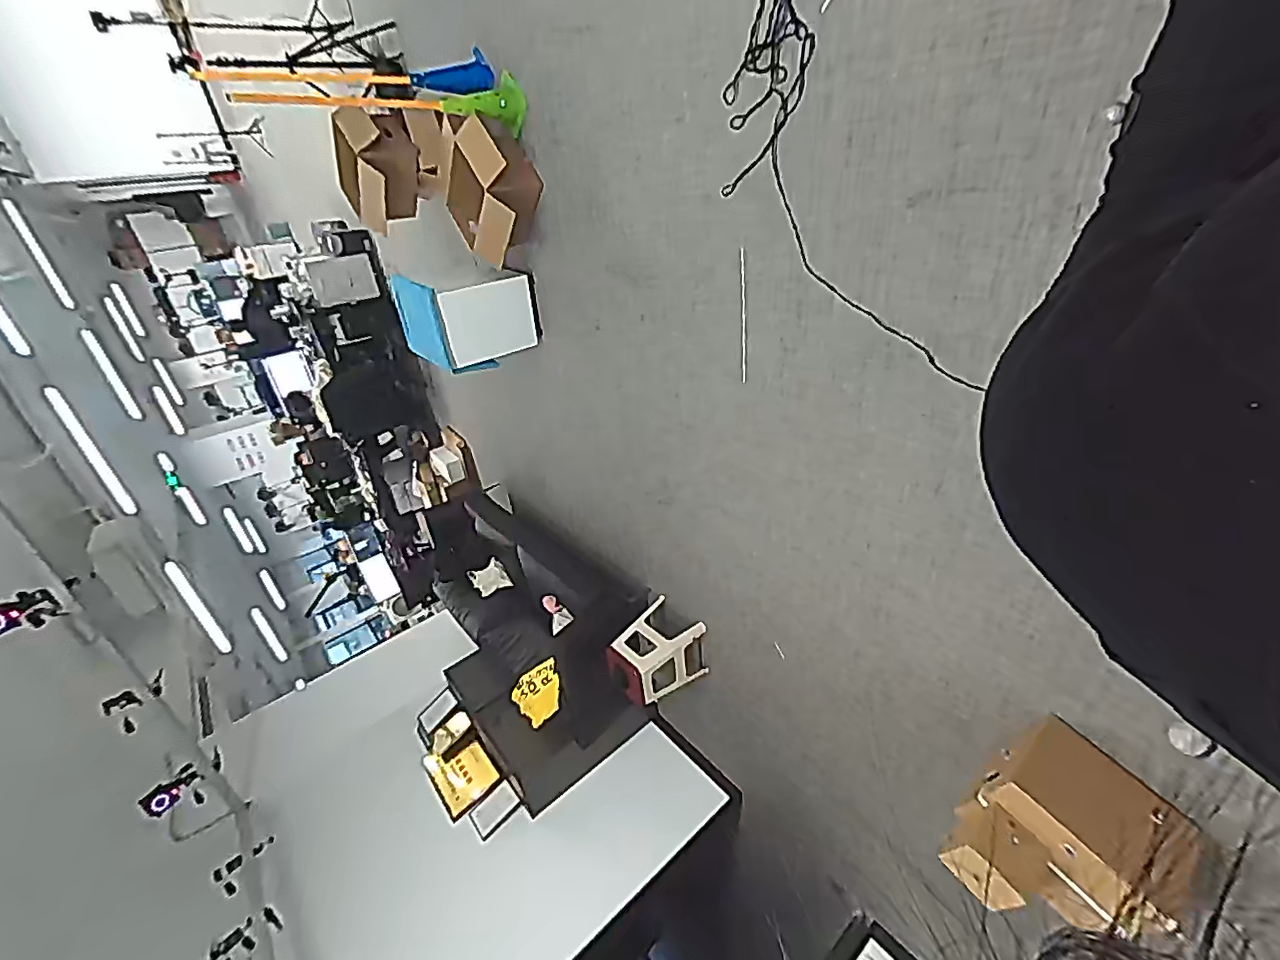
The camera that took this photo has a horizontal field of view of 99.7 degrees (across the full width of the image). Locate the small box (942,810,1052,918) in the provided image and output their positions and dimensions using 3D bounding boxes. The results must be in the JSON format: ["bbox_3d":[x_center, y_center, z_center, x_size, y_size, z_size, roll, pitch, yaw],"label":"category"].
[{"bbox_3d":[0.989,1.061,1.497,0.168,0.176,0.179,43,145,30],"label":"small box"}]
